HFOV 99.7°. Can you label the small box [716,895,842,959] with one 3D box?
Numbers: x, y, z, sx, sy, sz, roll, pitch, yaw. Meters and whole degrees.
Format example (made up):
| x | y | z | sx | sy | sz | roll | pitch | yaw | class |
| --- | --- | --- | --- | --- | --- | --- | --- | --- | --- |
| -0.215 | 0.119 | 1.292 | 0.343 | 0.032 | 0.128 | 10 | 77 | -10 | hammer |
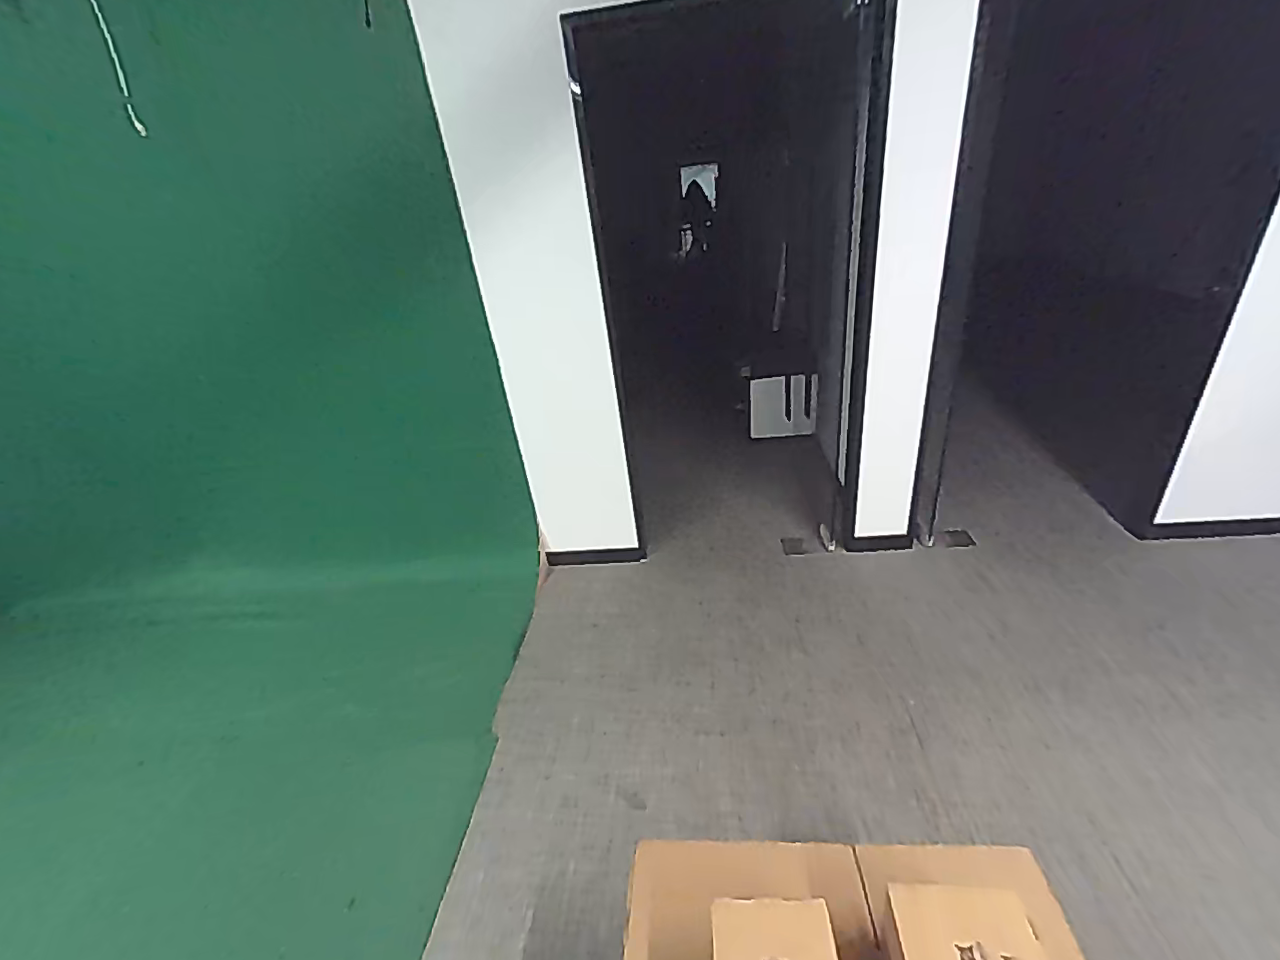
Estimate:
| x | y | z | sx | sy | sz | roll | pitch | yaw | class |
| --- | --- | --- | --- | --- | --- | --- | --- | --- | --- |
| 0.194 | 0.712 | 0.740 | 0.168 | 0.176 | 0.179 | -6 | 26 | 8 | small box |
